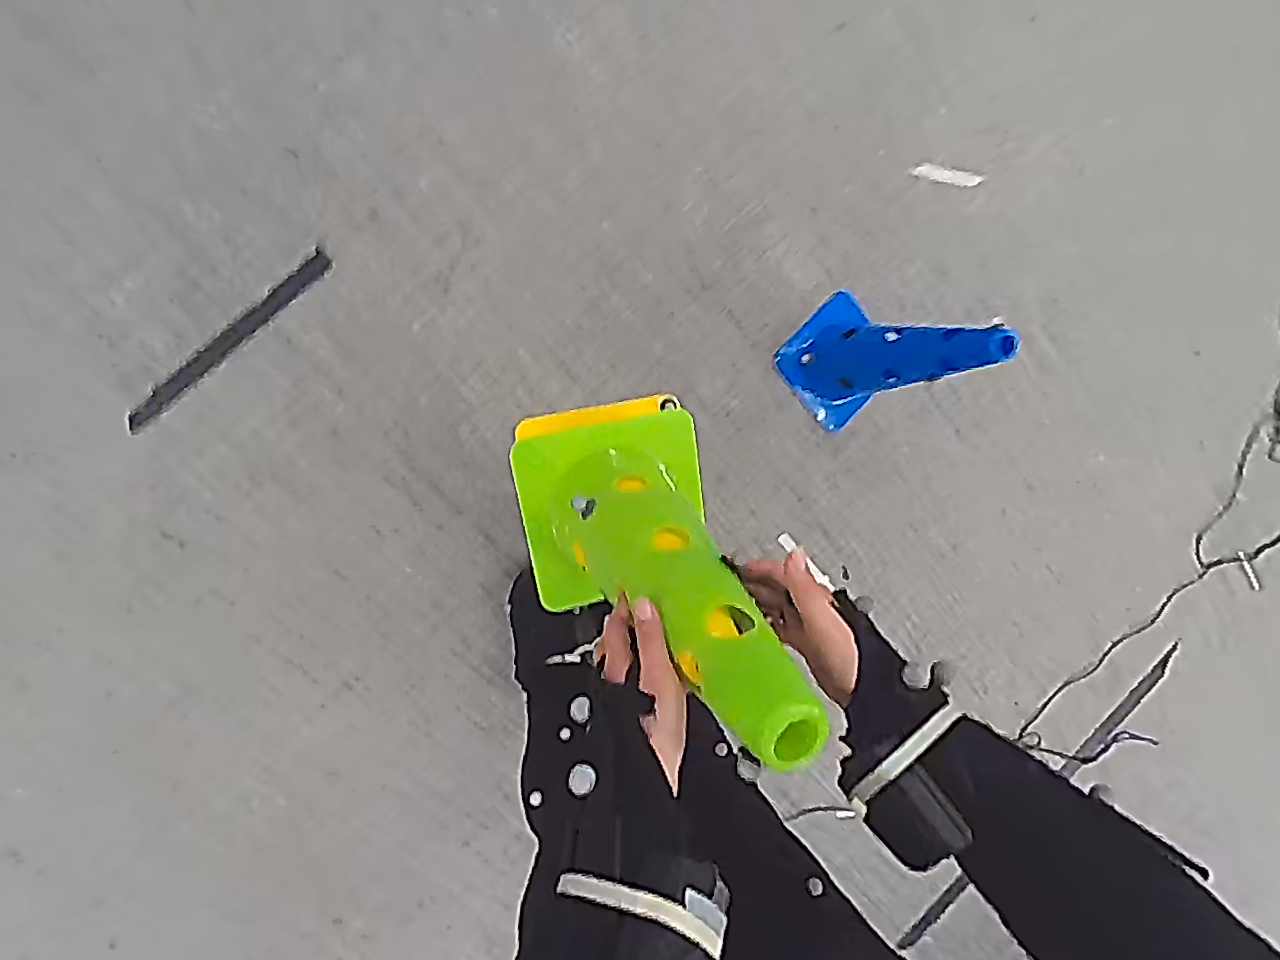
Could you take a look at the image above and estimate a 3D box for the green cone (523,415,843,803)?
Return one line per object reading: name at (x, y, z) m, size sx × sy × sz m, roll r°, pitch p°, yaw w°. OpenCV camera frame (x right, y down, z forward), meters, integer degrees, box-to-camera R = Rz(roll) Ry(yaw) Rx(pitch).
green cone at (0.034, 0.083, 0.416) m, size 0.202 × 0.368 × 0.200 m, roll -12°, pitch 108°, yaw -12°
